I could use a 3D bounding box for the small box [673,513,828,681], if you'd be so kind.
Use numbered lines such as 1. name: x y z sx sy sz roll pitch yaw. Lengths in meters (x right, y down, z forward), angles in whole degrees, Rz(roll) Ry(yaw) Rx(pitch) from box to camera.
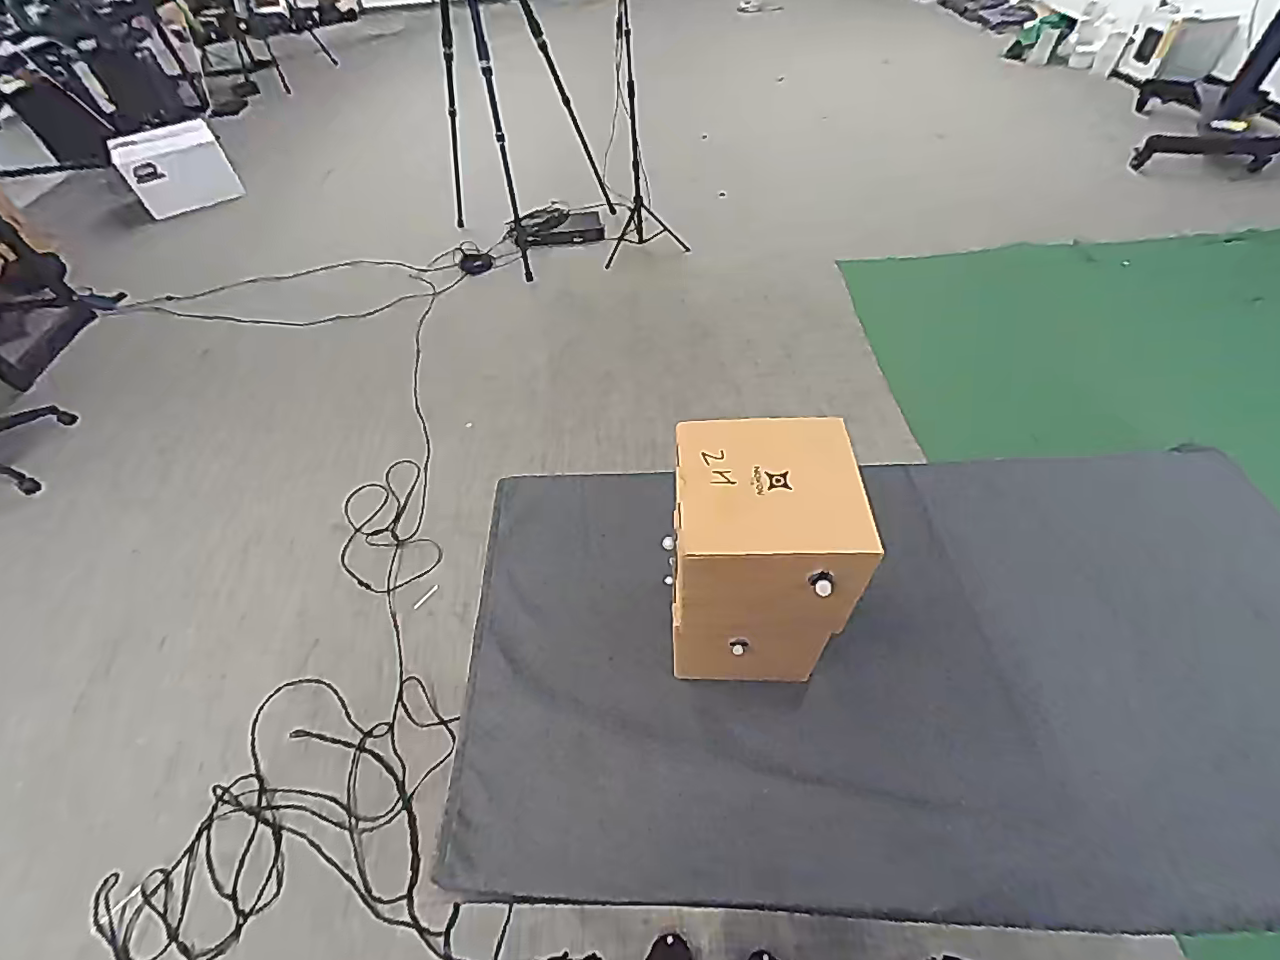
1. small box: 0.133 0.157 0.718 0.179 0.176 0.168 0 51 3

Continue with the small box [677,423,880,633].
1. small box: 0.130 0.056 0.587 0.179 0.176 0.168 -1 50 3
